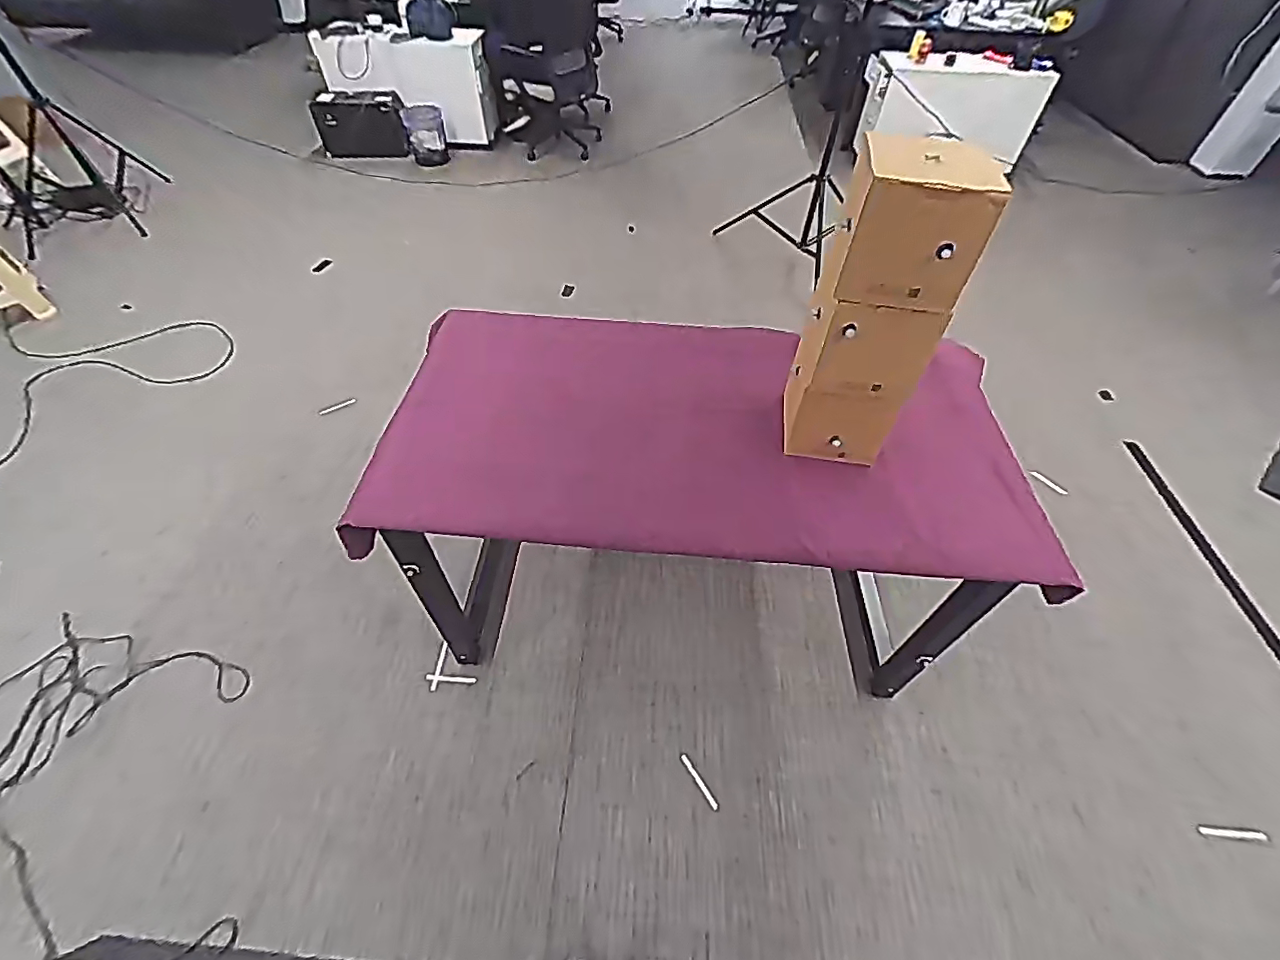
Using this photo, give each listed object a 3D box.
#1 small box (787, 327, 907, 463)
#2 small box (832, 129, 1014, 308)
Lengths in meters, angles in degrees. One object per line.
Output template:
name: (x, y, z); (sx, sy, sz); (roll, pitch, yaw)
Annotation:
small box: (0.375, -0.159, 1.014); (0.168, 0.176, 0.179); (8, 51, 6)
small box: (0.377, -0.364, 0.759); (0.168, 0.176, 0.179); (10, 49, 6)
